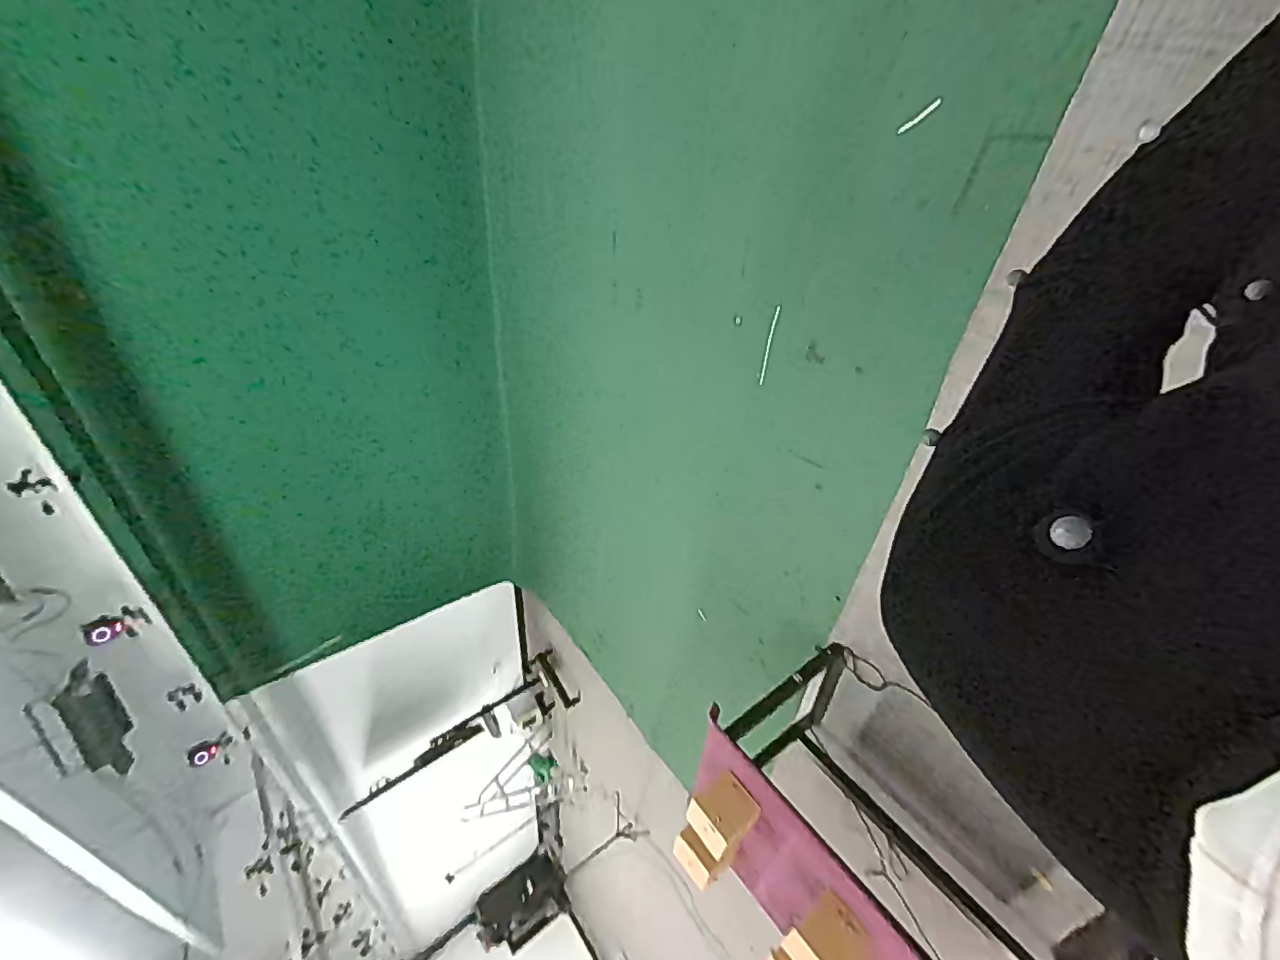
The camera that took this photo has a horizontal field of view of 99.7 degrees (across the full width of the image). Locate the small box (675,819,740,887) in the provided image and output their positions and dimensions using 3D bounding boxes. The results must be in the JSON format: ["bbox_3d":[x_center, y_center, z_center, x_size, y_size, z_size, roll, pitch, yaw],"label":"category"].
[{"bbox_3d":[0.253,1.362,2.026,0.168,0.176,0.179,36,136,36],"label":"small box"}]

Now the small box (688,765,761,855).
[{"bbox_3d":[0.285,1.114,1.830,0.168,0.176,0.179,40,141,34],"label":"small box"}]

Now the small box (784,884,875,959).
[{"bbox_3d":[0.552,1.334,1.574,0.168,0.176,0.179,39,139,36],"label":"small box"}]

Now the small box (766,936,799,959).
[{"bbox_3d":[0.531,1.571,1.752,0.168,0.176,0.179,38,137,39],"label":"small box"}]
